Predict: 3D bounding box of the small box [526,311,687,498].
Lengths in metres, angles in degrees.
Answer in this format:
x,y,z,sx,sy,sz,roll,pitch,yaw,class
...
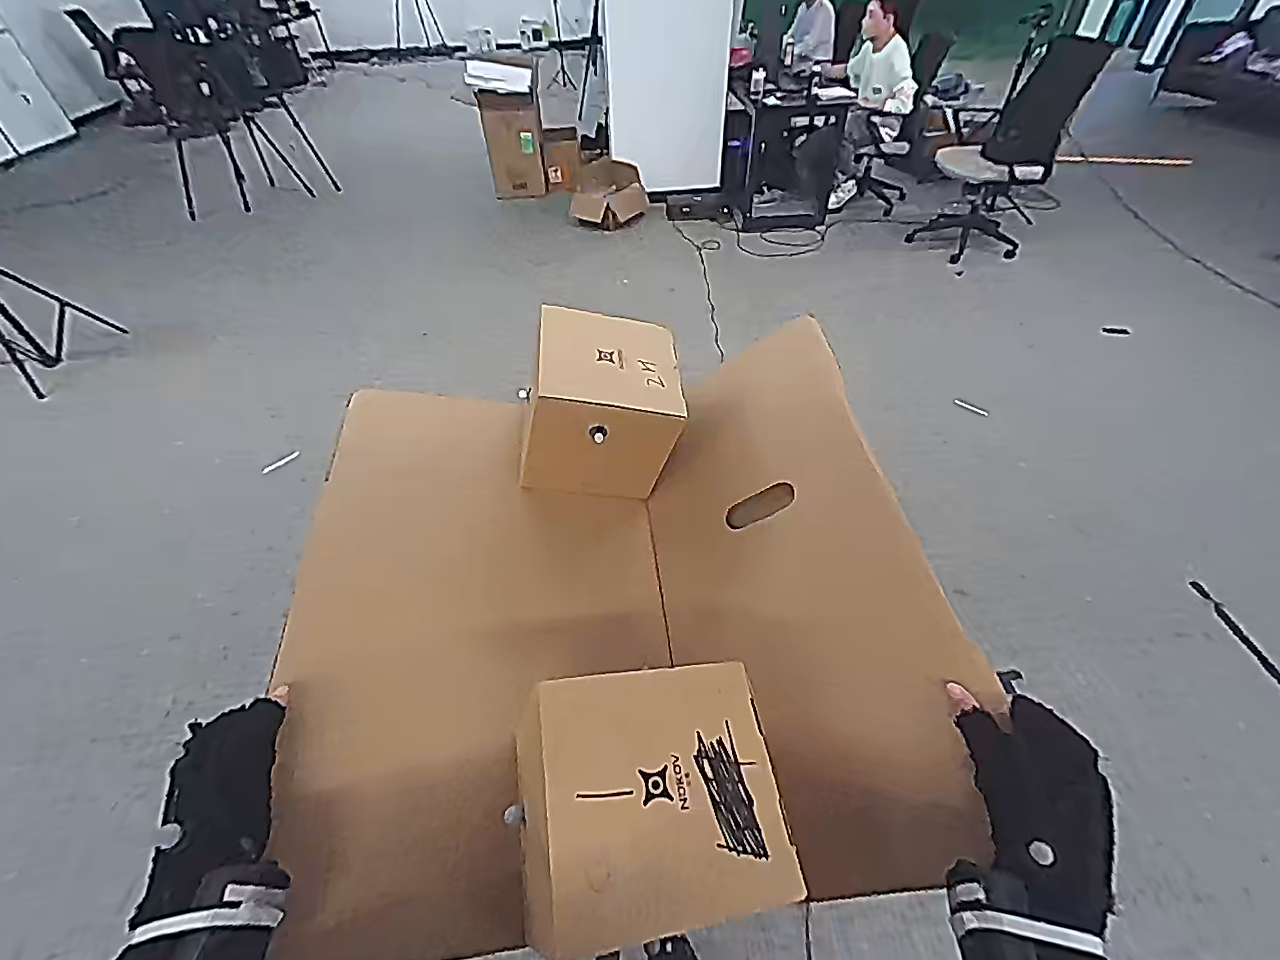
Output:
x,y,z,sx,sy,sz,roll,pitch,yaw,class
-0.053,-0.092,0.716,0.179,0.176,0.168,7,52,-15,small box
